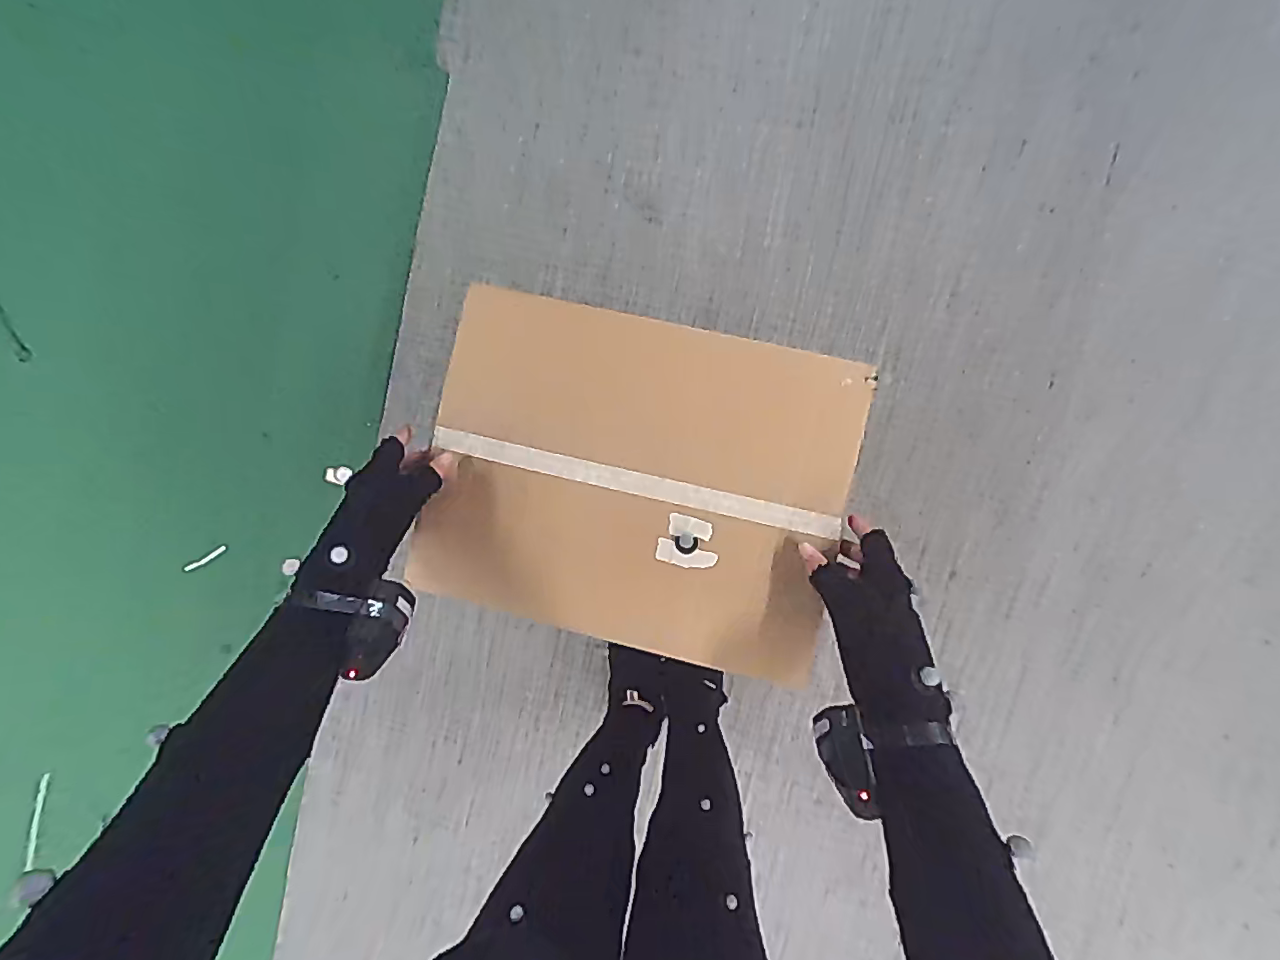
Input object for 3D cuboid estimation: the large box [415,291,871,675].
[{"bbox_3d":[0.006,0.003,0.680,0.408,0.320,0.320,14,90,4],"label":"large box"}]
